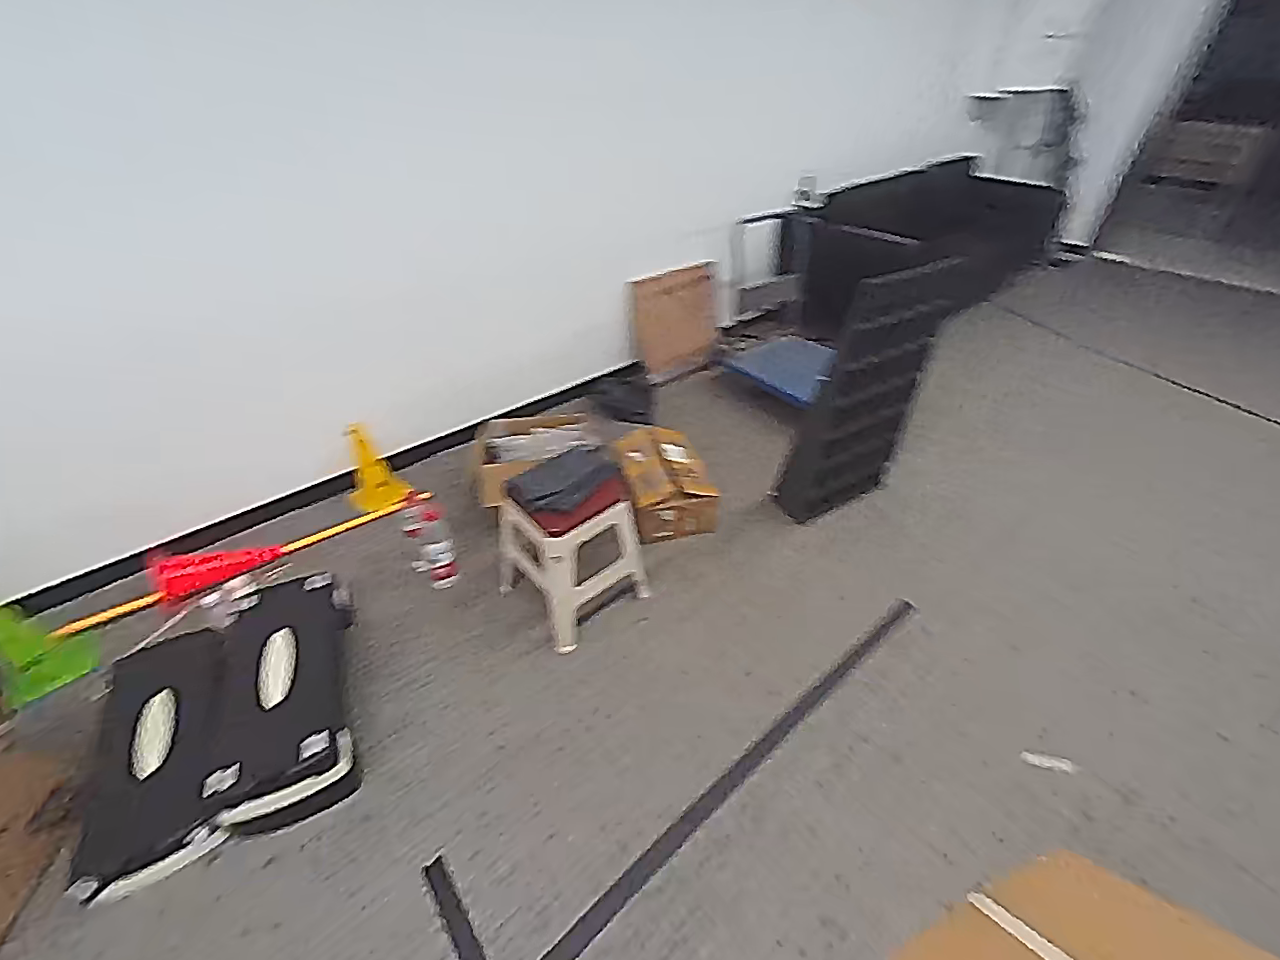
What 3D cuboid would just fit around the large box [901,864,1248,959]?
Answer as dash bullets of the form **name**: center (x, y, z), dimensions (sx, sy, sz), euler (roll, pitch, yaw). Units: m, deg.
- **large box**: center (0.549, 0.691, 0.524), dimensions (0.320, 0.408, 0.320), euler (-19, 84, -11)
